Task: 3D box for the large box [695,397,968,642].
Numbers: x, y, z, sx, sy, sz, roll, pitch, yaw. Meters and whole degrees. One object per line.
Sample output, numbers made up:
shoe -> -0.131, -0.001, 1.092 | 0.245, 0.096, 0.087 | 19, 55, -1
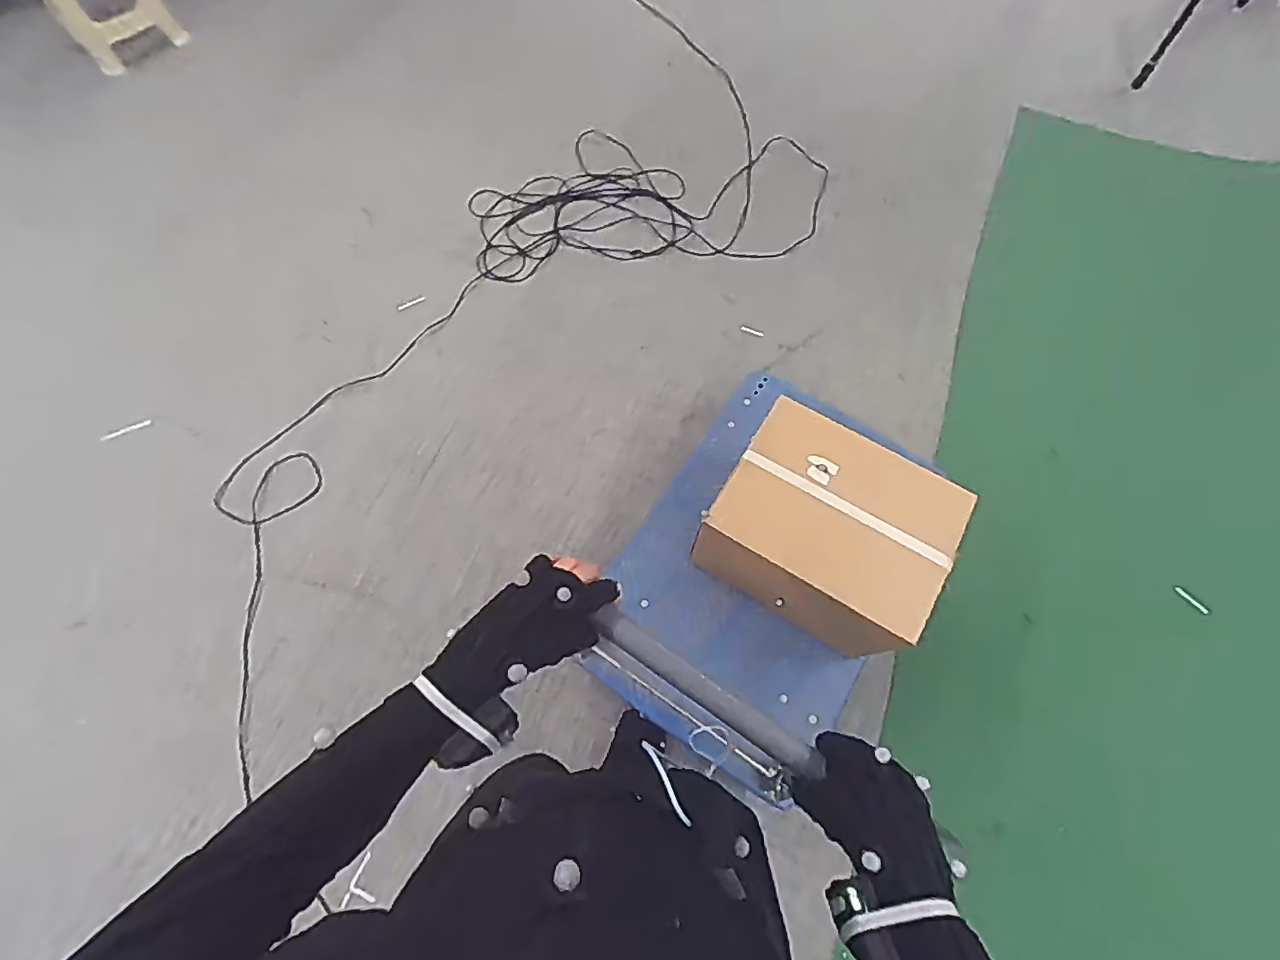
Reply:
large box -> 0.368, 0.099, 1.133 | 0.408, 0.320, 0.320 | 29, 72, 12
